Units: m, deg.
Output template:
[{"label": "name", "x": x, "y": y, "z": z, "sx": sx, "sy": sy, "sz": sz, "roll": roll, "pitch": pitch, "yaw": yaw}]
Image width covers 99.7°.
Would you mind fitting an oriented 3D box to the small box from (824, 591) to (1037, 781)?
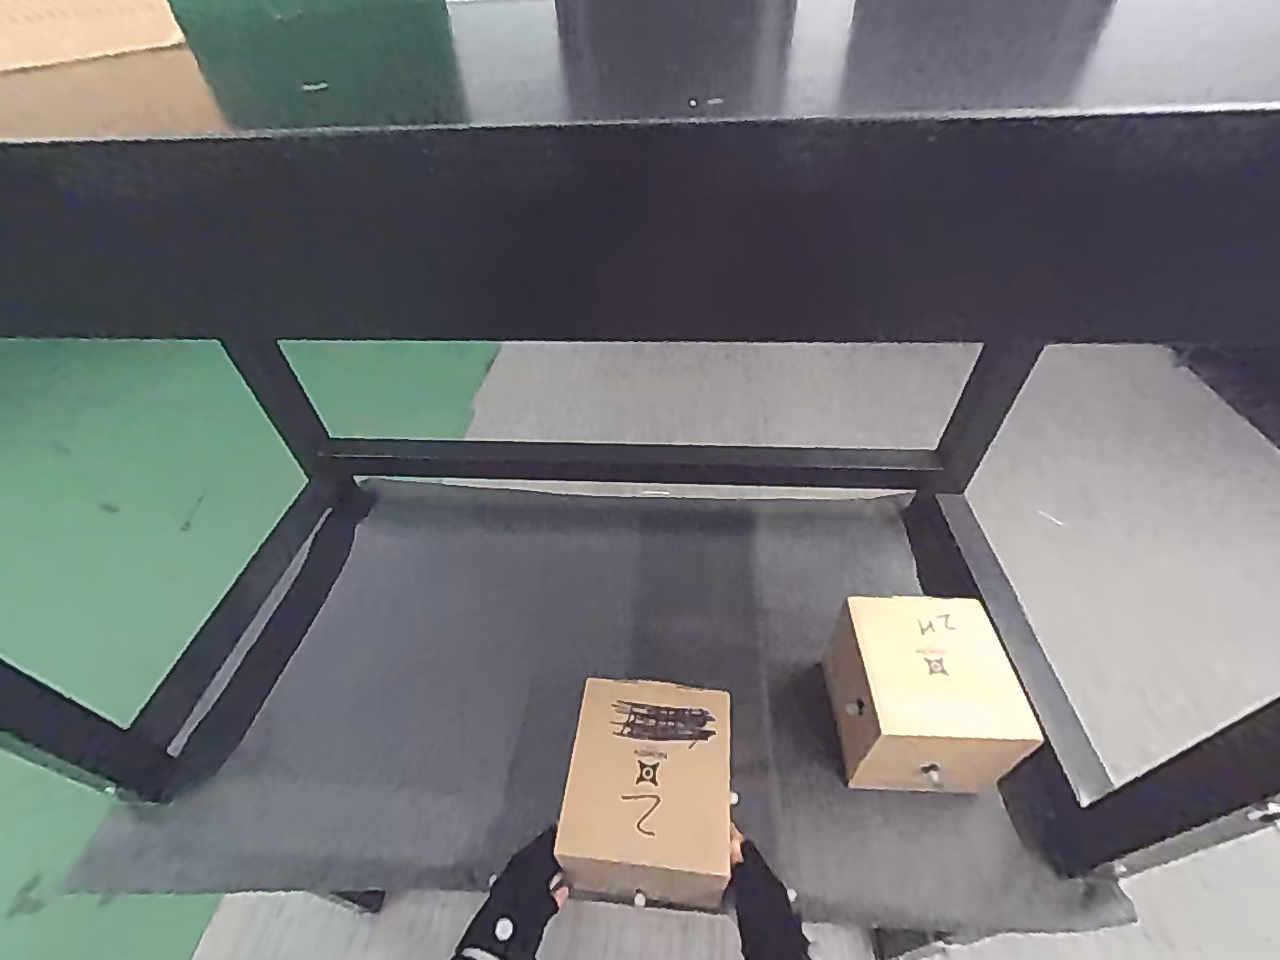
[{"label": "small box", "x": 0.344, "y": 0.262, "z": 0.685, "sx": 0.168, "sy": 0.176, "sz": 0.179, "roll": 1, "pitch": 44, "yaw": 4}]
